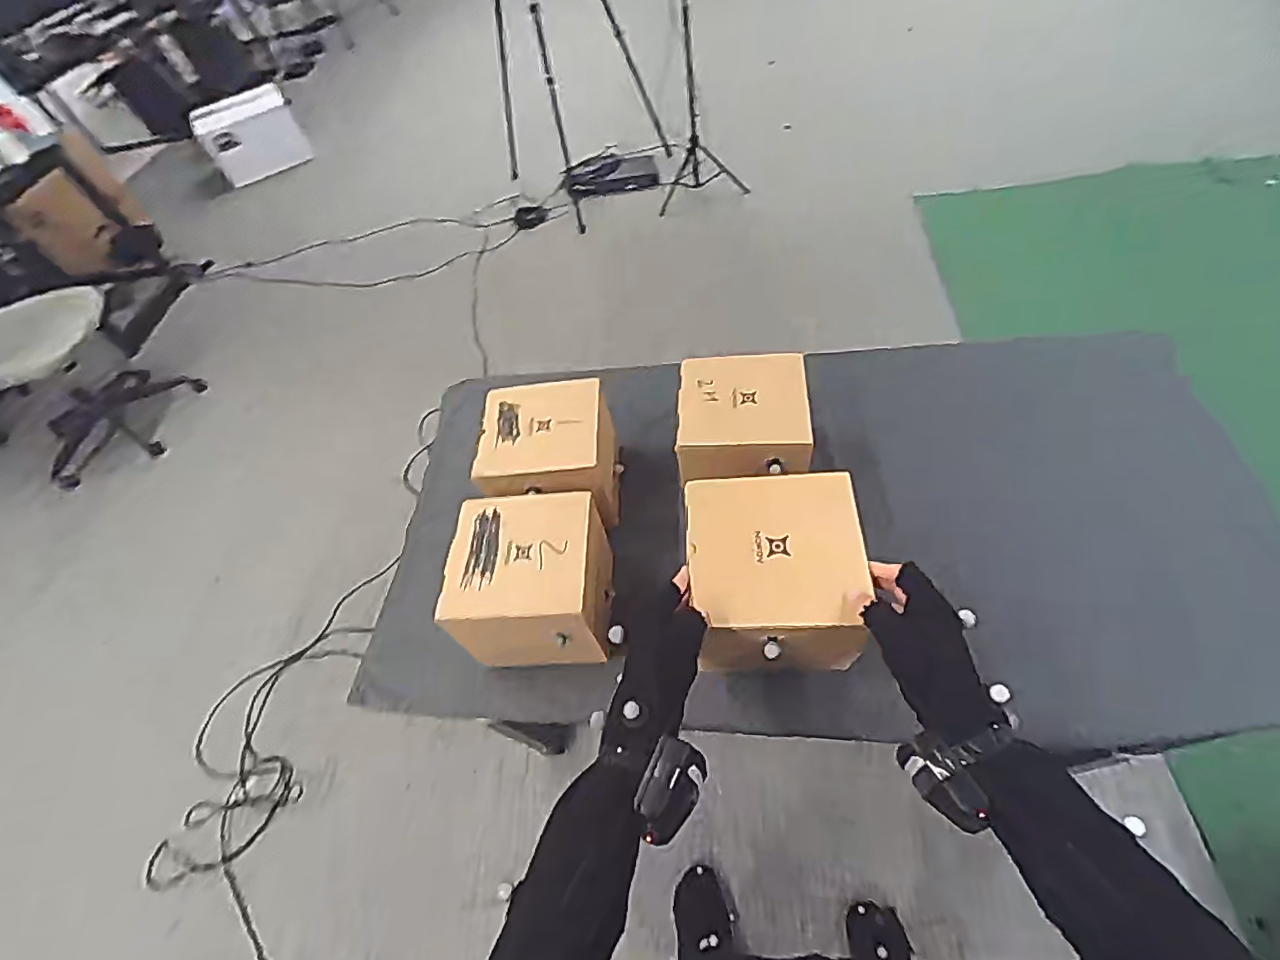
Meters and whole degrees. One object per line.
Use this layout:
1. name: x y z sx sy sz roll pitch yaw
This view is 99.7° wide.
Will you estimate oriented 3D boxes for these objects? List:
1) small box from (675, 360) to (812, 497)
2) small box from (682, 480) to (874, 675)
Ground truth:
1. small box: 0.151 -0.058 0.803 0.179 0.176 0.168 -1 55 10
2. small box: 0.142 0.116 0.607 0.179 0.176 0.168 -4 57 10
